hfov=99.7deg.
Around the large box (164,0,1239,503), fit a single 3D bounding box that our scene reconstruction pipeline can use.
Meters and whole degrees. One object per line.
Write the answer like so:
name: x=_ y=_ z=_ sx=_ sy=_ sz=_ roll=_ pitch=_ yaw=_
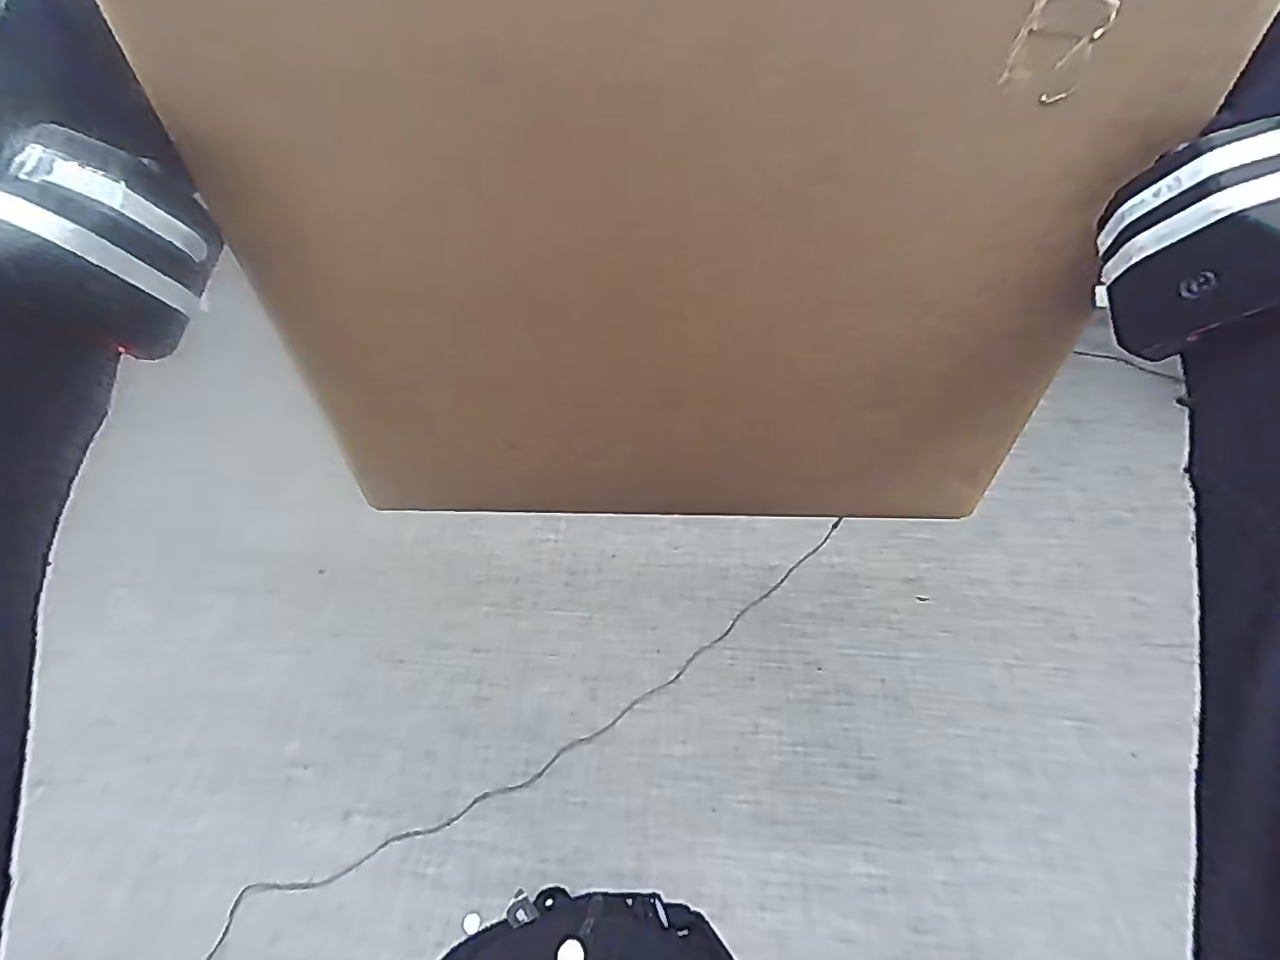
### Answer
large box: x=0.022 y=-0.195 z=0.378 sx=0.408 sy=0.320 sz=0.320 roll=1 pitch=44 yaw=1
